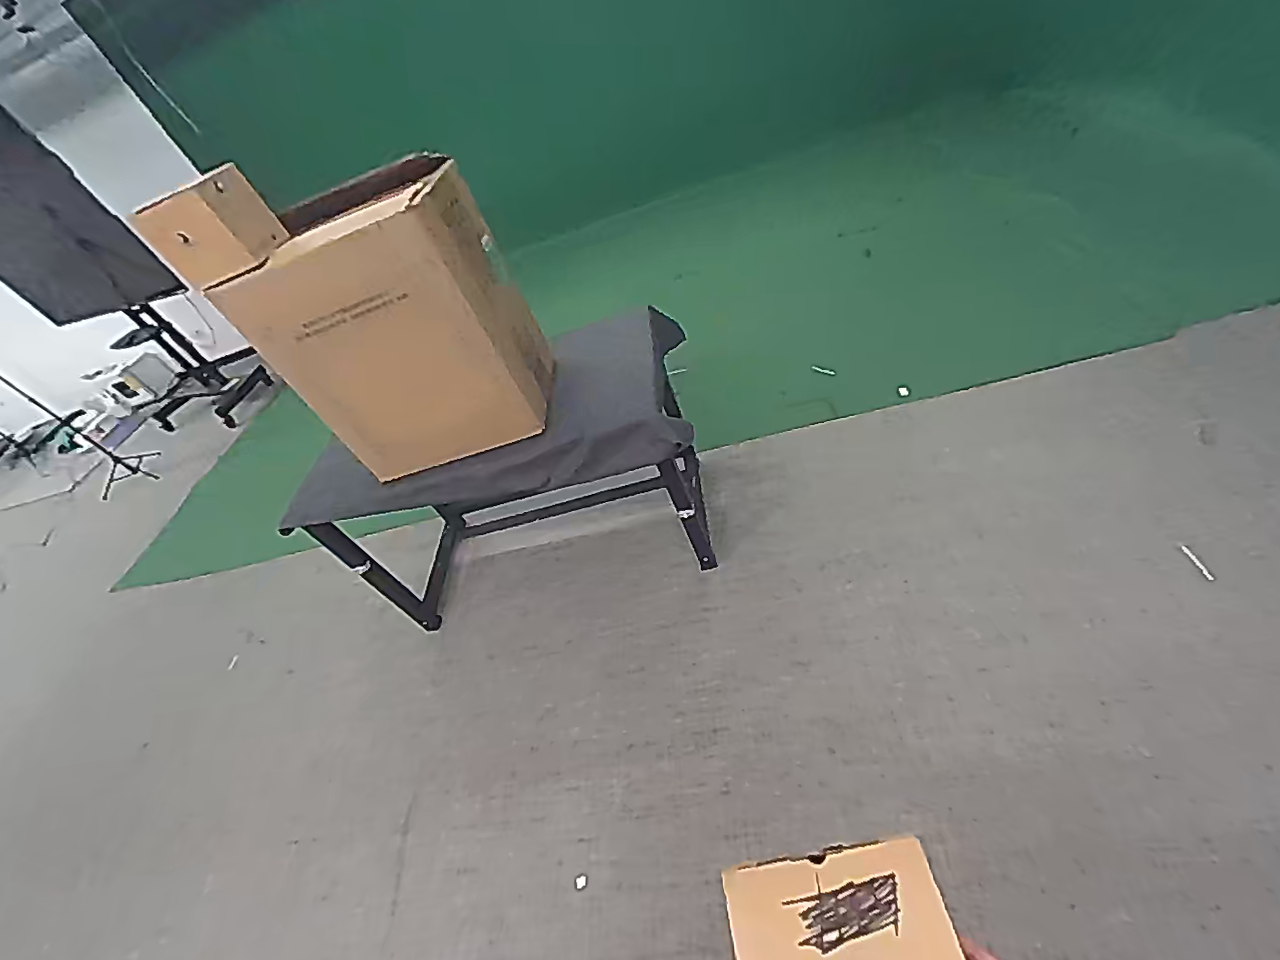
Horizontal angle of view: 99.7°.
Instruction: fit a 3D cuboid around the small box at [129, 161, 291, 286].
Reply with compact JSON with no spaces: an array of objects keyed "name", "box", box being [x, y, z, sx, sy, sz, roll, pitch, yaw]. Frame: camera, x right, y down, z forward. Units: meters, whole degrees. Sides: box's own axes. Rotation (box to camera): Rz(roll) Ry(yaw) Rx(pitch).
[{"name":"small box","box":[-0.914,-0.547,1.168,0.179,0.176,0.168,-16,44,12]}]
